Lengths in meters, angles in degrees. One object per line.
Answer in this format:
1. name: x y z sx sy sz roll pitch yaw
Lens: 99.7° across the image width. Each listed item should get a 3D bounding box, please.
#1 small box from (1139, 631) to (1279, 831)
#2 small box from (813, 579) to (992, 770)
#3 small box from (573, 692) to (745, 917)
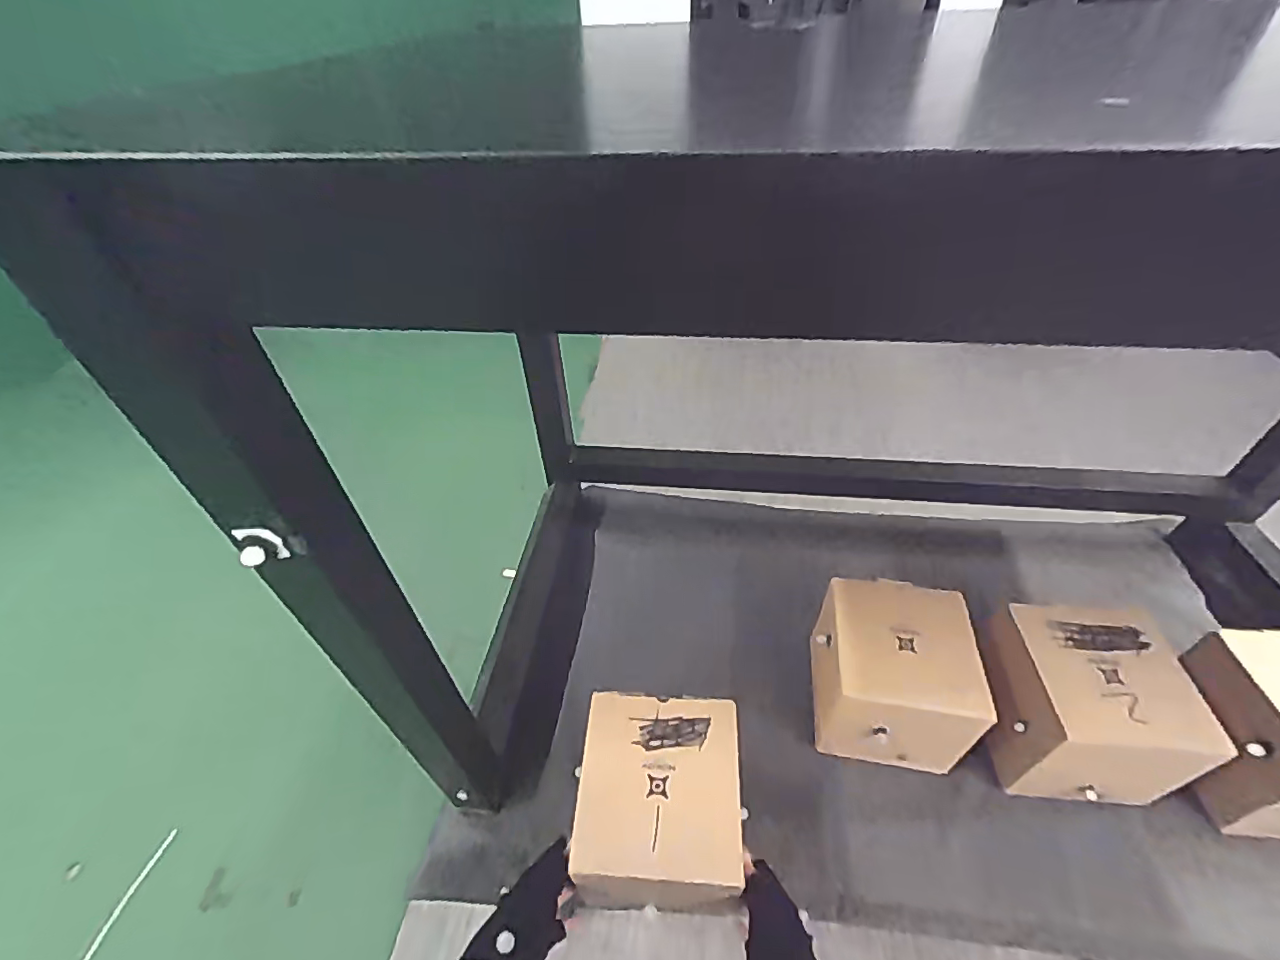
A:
1. small box: 0.770 0.305 0.644 0.168 0.176 0.179 2 42 5
2. small box: 0.331 0.260 0.723 0.168 0.176 0.179 6 43 9
3. small box: 0.025 0.368 0.617 0.168 0.176 0.179 2 44 5
